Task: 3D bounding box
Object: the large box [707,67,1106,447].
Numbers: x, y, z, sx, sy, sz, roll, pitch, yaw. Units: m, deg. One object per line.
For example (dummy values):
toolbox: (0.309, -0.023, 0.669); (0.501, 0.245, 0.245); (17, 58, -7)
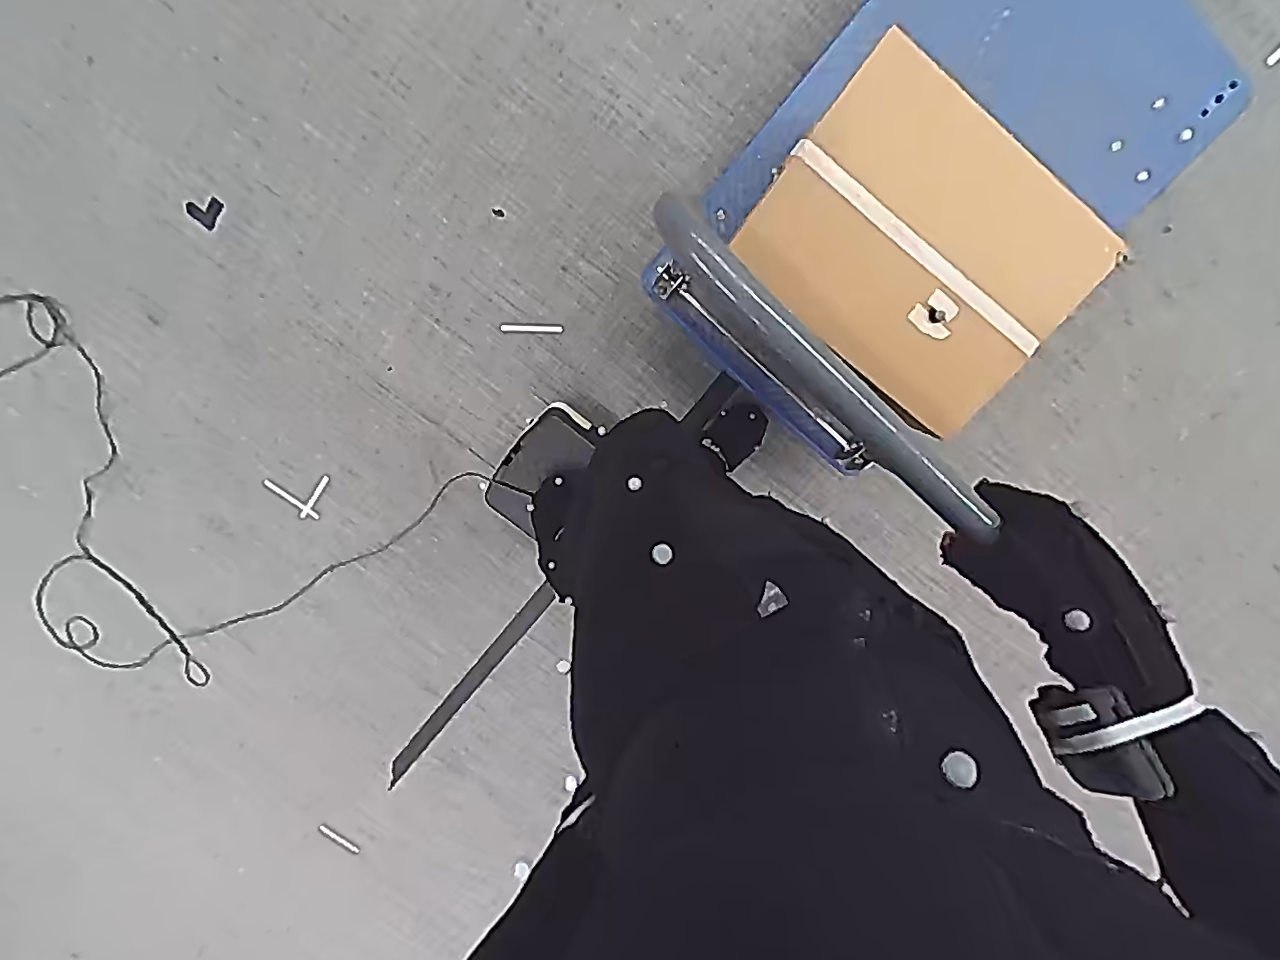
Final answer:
large box: (0.364, -0.314, 0.856); (0.408, 0.320, 0.320); (36, 105, -7)
